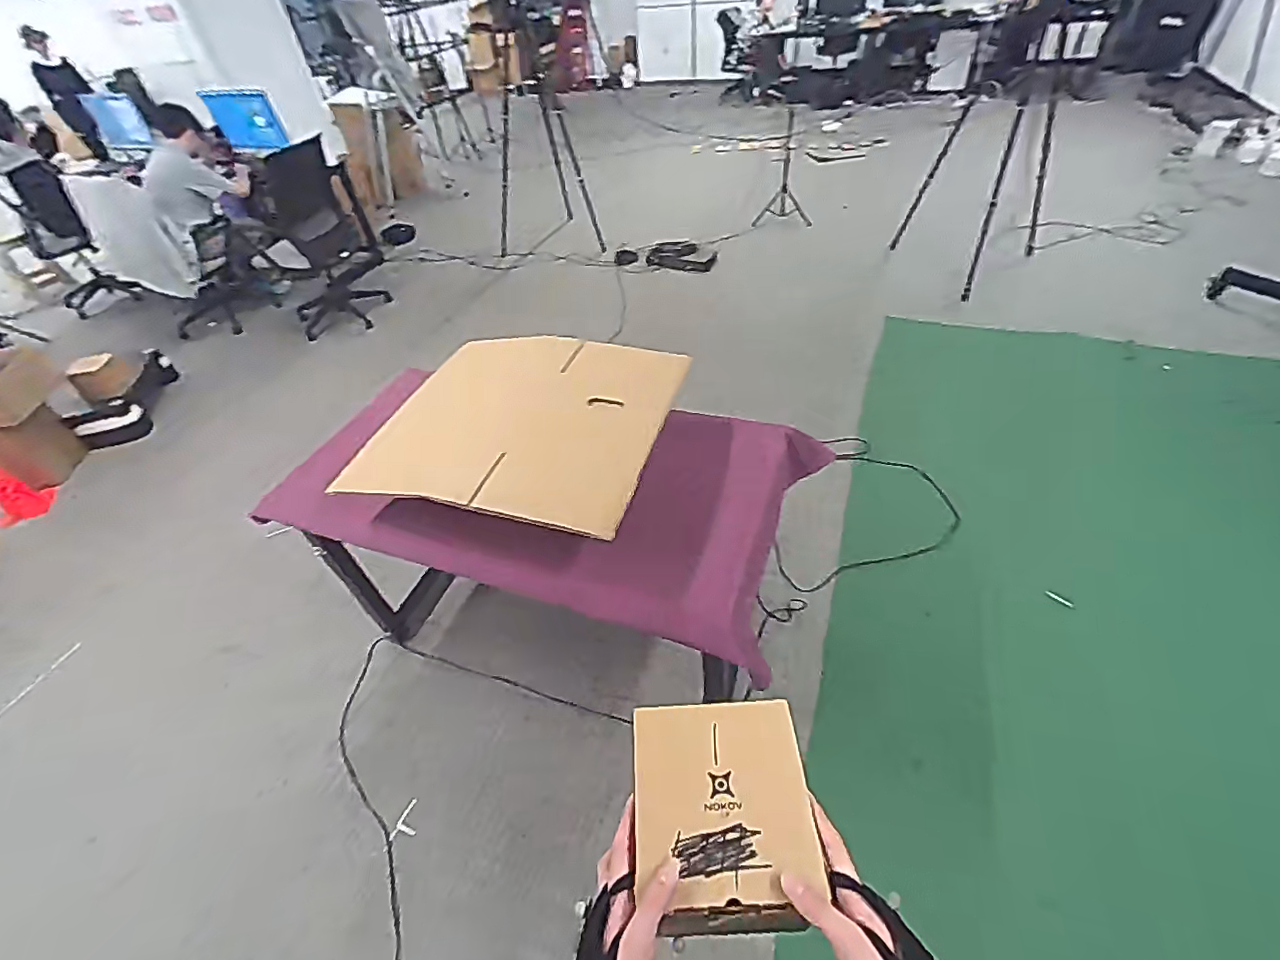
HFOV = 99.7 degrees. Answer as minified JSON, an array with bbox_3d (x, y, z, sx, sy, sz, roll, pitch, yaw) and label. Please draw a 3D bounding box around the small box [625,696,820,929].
[{"bbox_3d":[0.075,0.350,0.565,0.168,0.176,0.179,-5,44,1],"label":"small box"}]
